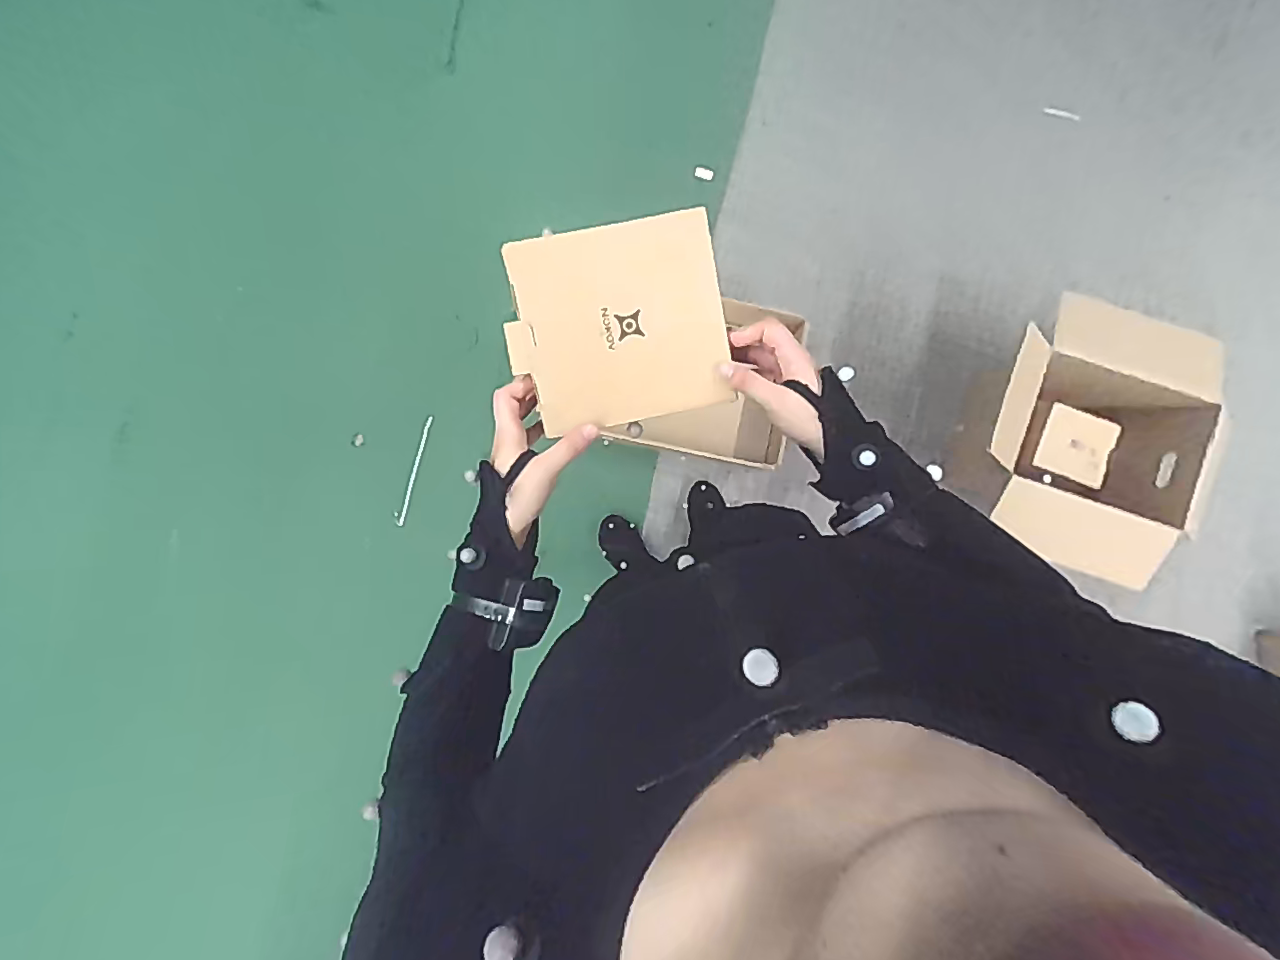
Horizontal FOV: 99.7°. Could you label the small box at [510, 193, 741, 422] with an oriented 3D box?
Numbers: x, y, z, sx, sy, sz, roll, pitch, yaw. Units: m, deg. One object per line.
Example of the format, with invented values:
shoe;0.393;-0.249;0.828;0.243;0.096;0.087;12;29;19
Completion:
small box;-0.015;-0.160;0.543;0.179;0.176;0.168;-13;100;-2
